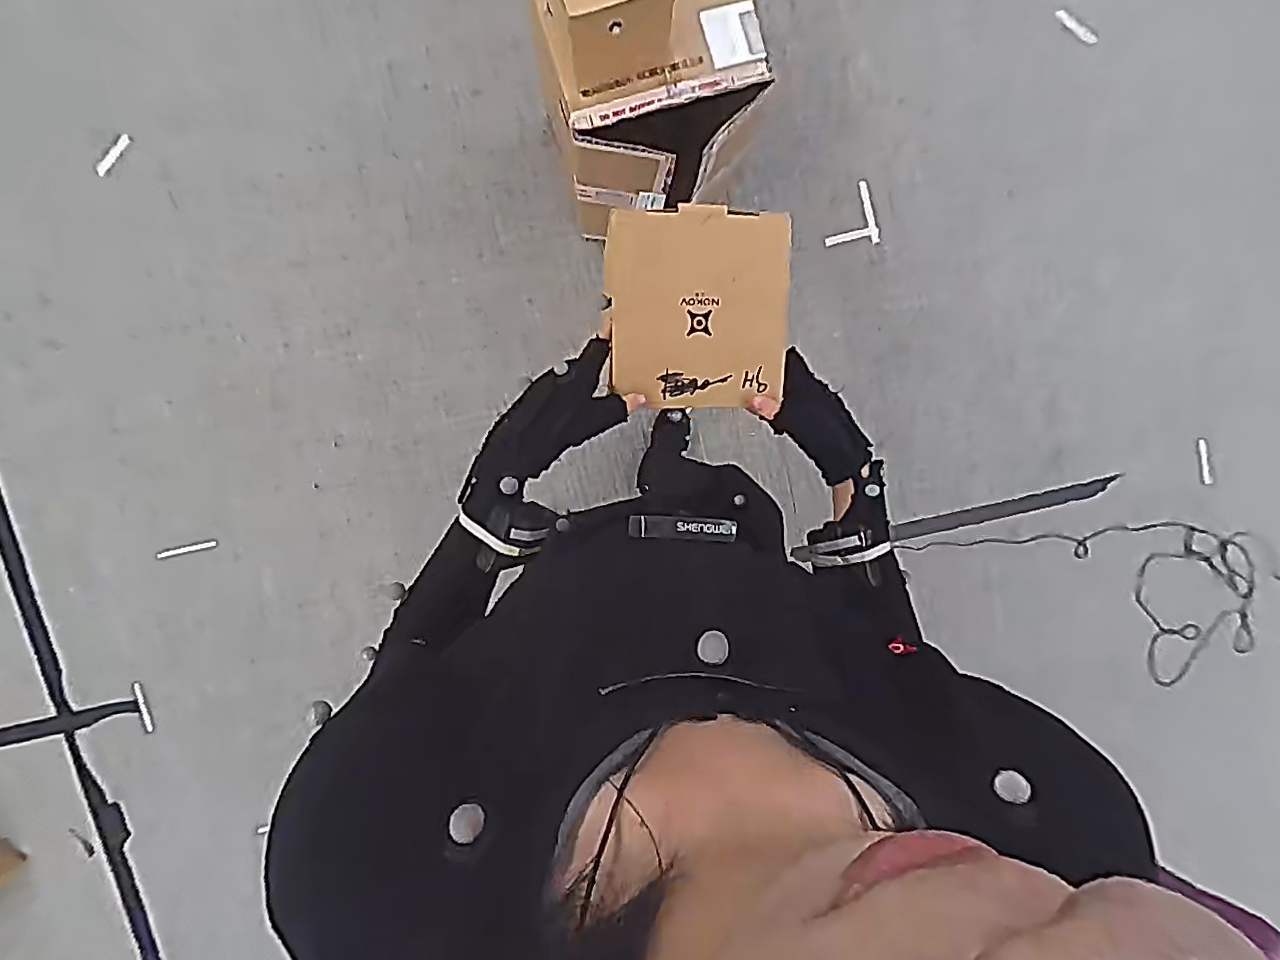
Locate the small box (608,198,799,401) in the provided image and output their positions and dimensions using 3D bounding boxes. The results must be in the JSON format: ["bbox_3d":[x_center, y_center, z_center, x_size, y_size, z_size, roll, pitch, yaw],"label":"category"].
[{"bbox_3d":[0.053,-0.176,0.569,0.168,0.176,0.179,-1,103,-5],"label":"small box"}]

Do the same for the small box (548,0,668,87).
[{"bbox_3d":[-0.058,-0.796,0.887,0.179,0.176,0.168,-19,93,-2],"label":"small box"}]
